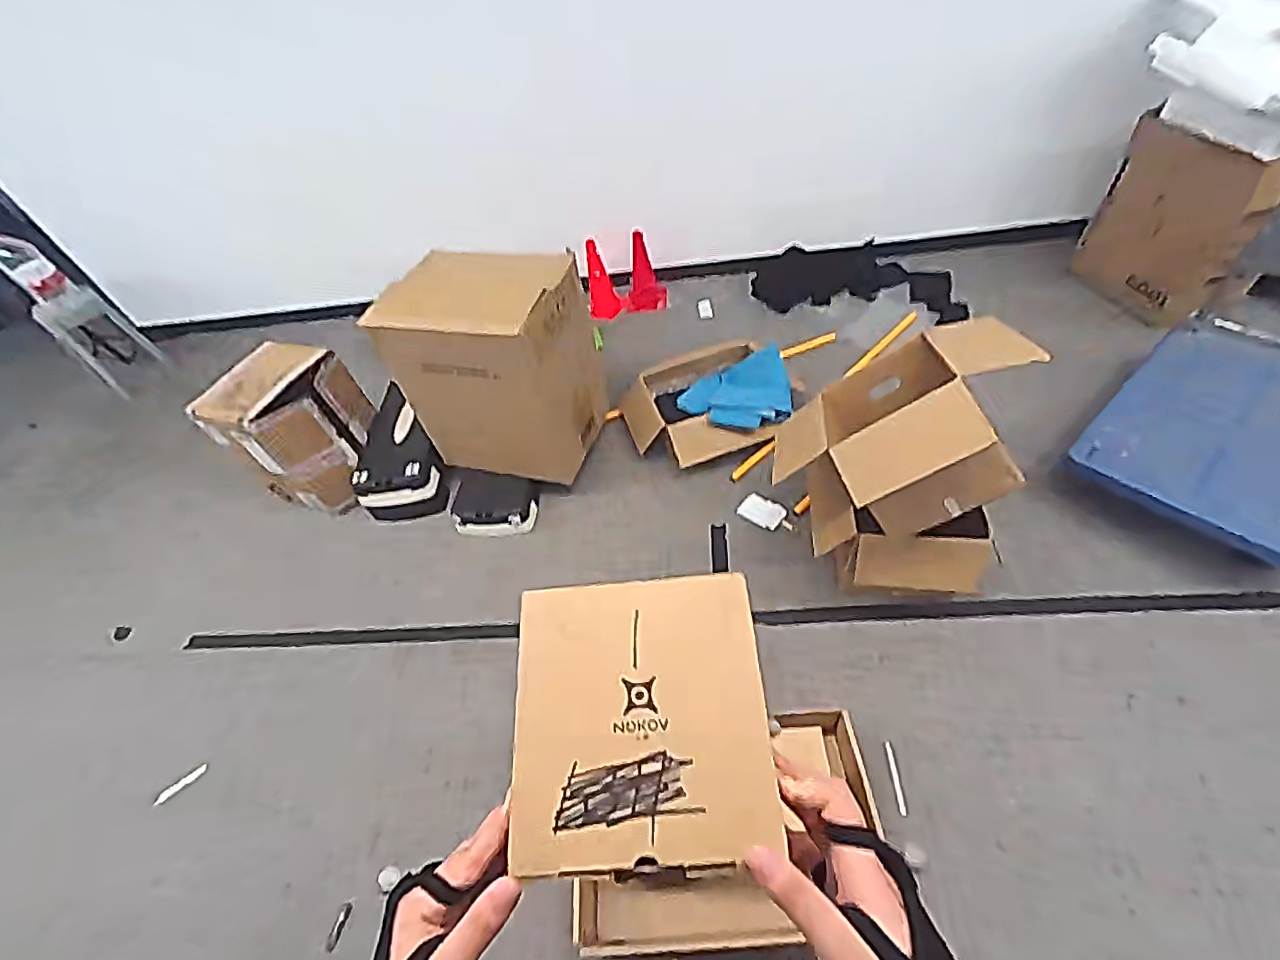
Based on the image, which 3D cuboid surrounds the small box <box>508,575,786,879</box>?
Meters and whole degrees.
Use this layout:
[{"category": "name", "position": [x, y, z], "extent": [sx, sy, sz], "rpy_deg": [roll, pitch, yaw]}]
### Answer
[{"category": "small box", "position": [0.009, 0.188, 0.418], "extent": [0.168, 0.176, 0.179], "rpy_deg": [-4, 59, 3]}]

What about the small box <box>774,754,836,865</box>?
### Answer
[{"category": "small box", "position": [0.302, 0.705, 1.151], "extent": [0.168, 0.176, 0.179], "rpy_deg": [-8, 49, 5]}]
